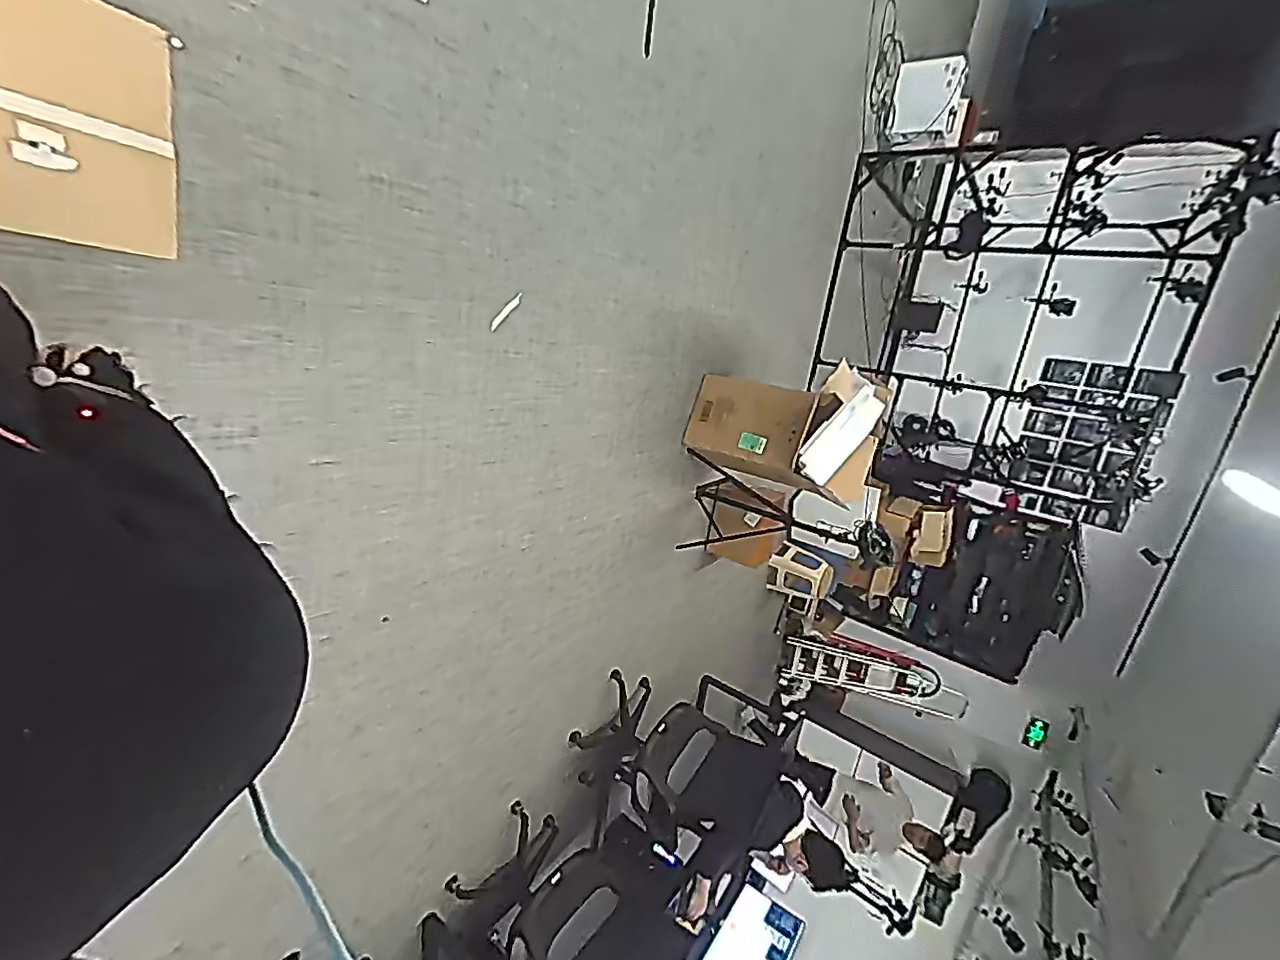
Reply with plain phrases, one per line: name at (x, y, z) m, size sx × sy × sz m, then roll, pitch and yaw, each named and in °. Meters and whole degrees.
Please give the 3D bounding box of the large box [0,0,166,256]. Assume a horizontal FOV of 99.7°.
large box at (-0.942, -0.506, 0.713) m, size 0.408 × 0.320 × 0.320 m, roll -11°, pitch 115°, yaw -56°
